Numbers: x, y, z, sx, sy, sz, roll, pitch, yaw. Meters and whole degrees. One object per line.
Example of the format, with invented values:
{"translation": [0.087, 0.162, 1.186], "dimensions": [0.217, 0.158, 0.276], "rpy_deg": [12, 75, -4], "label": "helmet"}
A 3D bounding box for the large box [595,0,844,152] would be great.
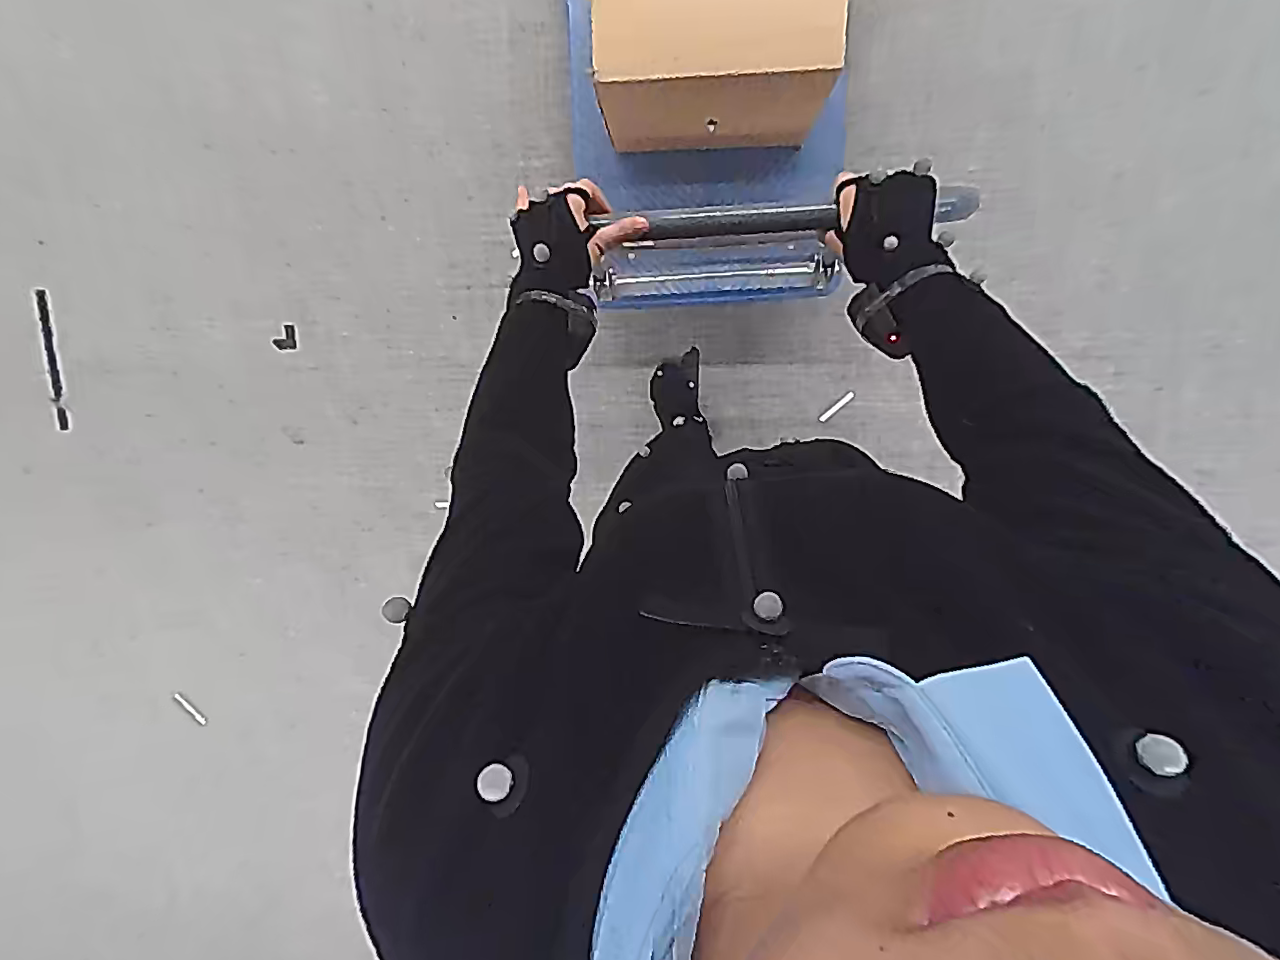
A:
{"translation": [0.137, -0.841, 1.002], "dimensions": [0.408, 0.320, 0.320], "rpy_deg": [0, 101, 5], "label": "large box"}
